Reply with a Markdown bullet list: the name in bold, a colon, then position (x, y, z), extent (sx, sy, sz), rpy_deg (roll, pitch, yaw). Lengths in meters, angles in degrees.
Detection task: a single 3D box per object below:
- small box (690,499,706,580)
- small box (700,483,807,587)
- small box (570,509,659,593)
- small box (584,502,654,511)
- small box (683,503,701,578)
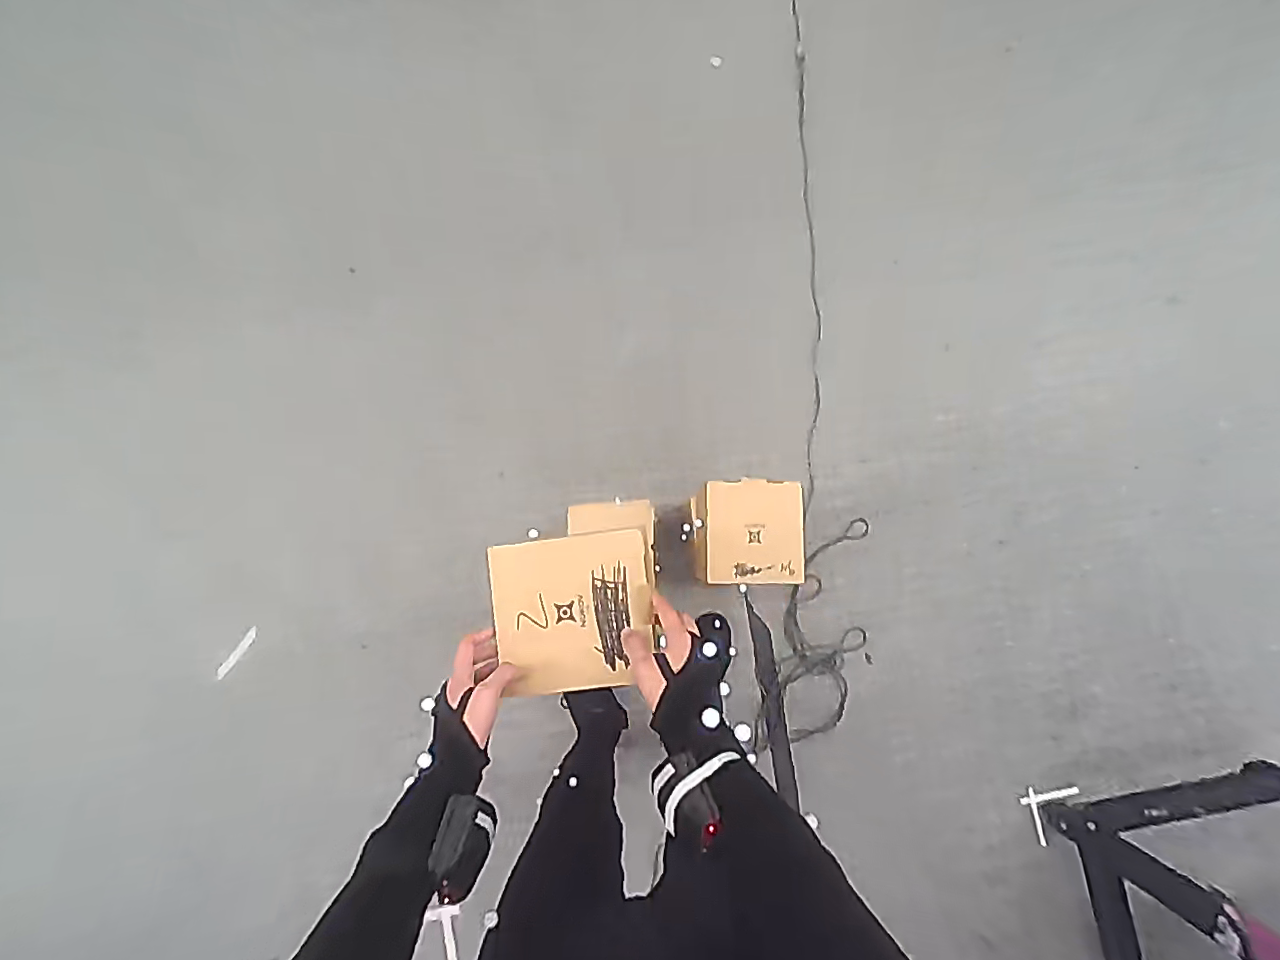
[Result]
- **small box**: position (0.202, 0.121, 1.159), extent (0.179, 0.176, 0.168), rpy_deg (-7, 84, 0)
- **small box**: position (0.200, 0.104, 0.995), extent (0.168, 0.176, 0.179), rpy_deg (1, 82, 0)
- **small box**: position (-0.050, 0.147, 1.149), extent (0.179, 0.176, 0.168), rpy_deg (0, 83, 0)
- **small box**: position (-0.046, 0.150, 1.314), extent (0.168, 0.176, 0.179), rpy_deg (-3, 84, 0)
- **small box**: position (0.201, 0.138, 1.319), extent (0.168, 0.176, 0.179), rpy_deg (-8, 84, -1)
